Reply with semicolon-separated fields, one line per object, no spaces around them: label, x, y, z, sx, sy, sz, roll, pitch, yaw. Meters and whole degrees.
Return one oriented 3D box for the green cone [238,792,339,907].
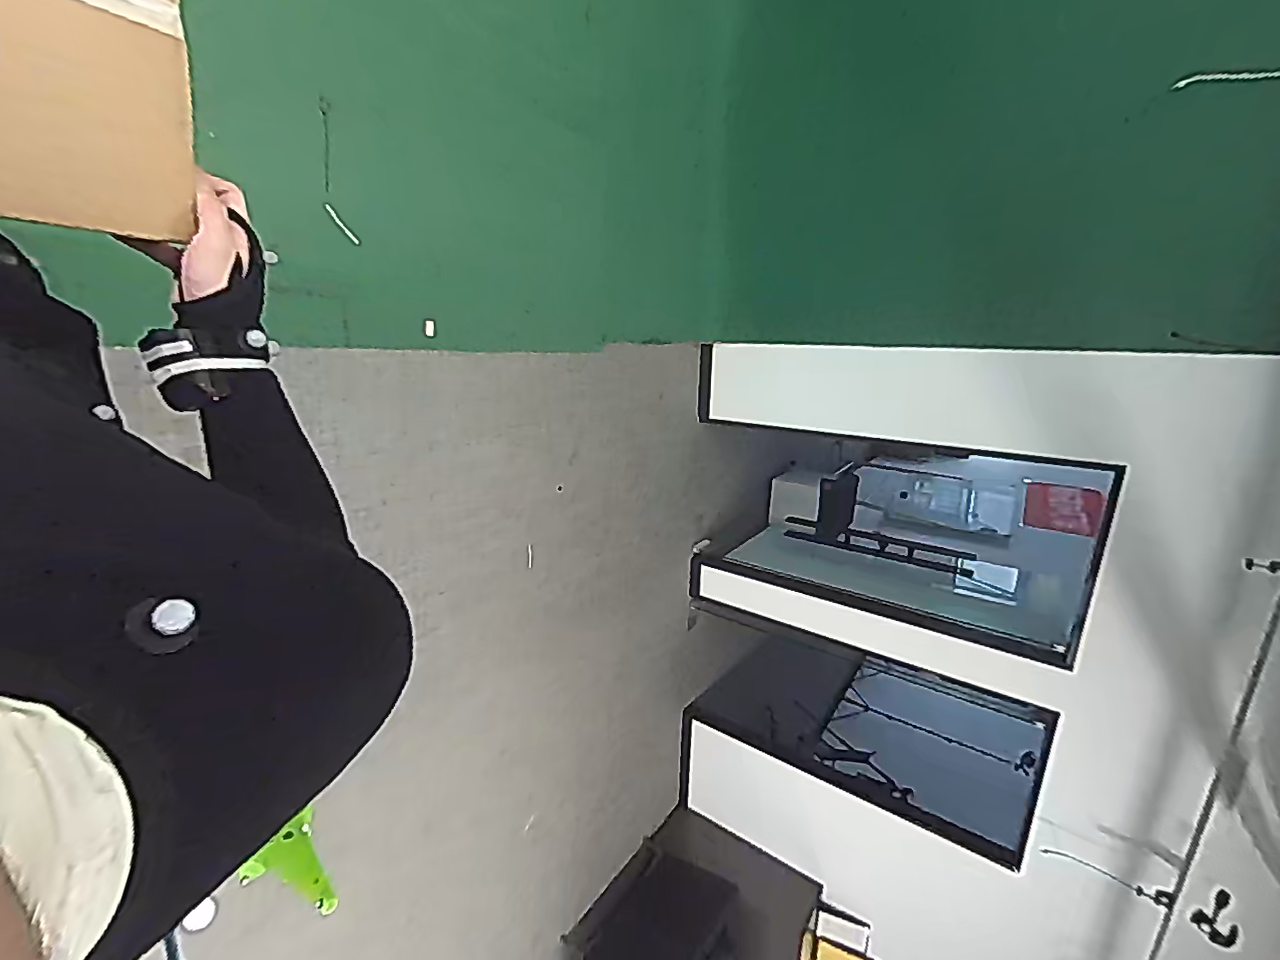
green cone;-0.987;1.125;1.580;0.200;0.368;0.202;-9;105;-55
